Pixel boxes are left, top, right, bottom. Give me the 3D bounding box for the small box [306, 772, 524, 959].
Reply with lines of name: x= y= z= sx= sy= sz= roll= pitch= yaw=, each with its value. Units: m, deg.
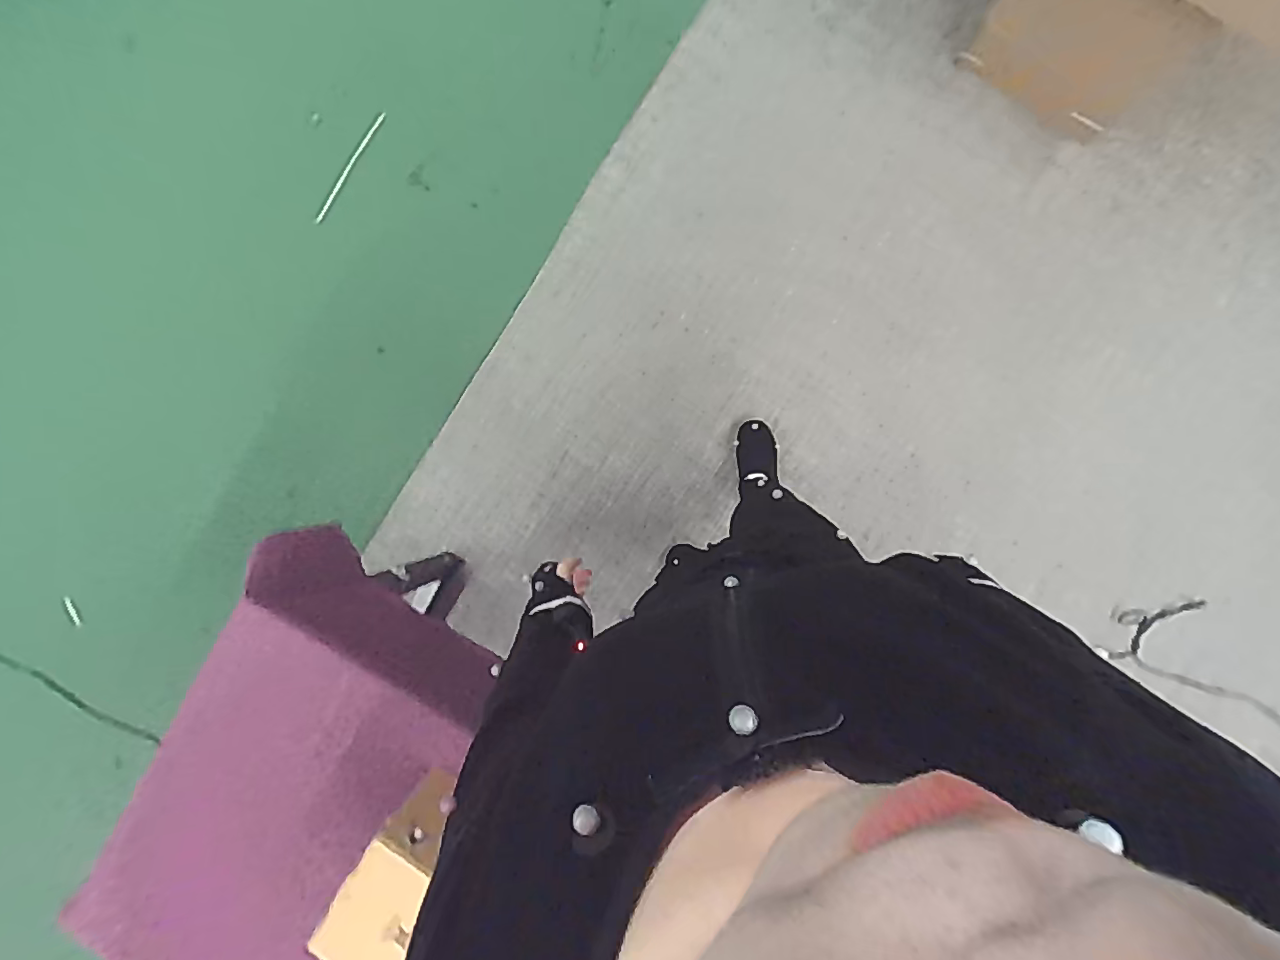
small box: x=-0.282 y=0.535 z=0.722 sx=0.179 sy=0.176 sz=0.168 roll=32 pitch=93 yaw=5
